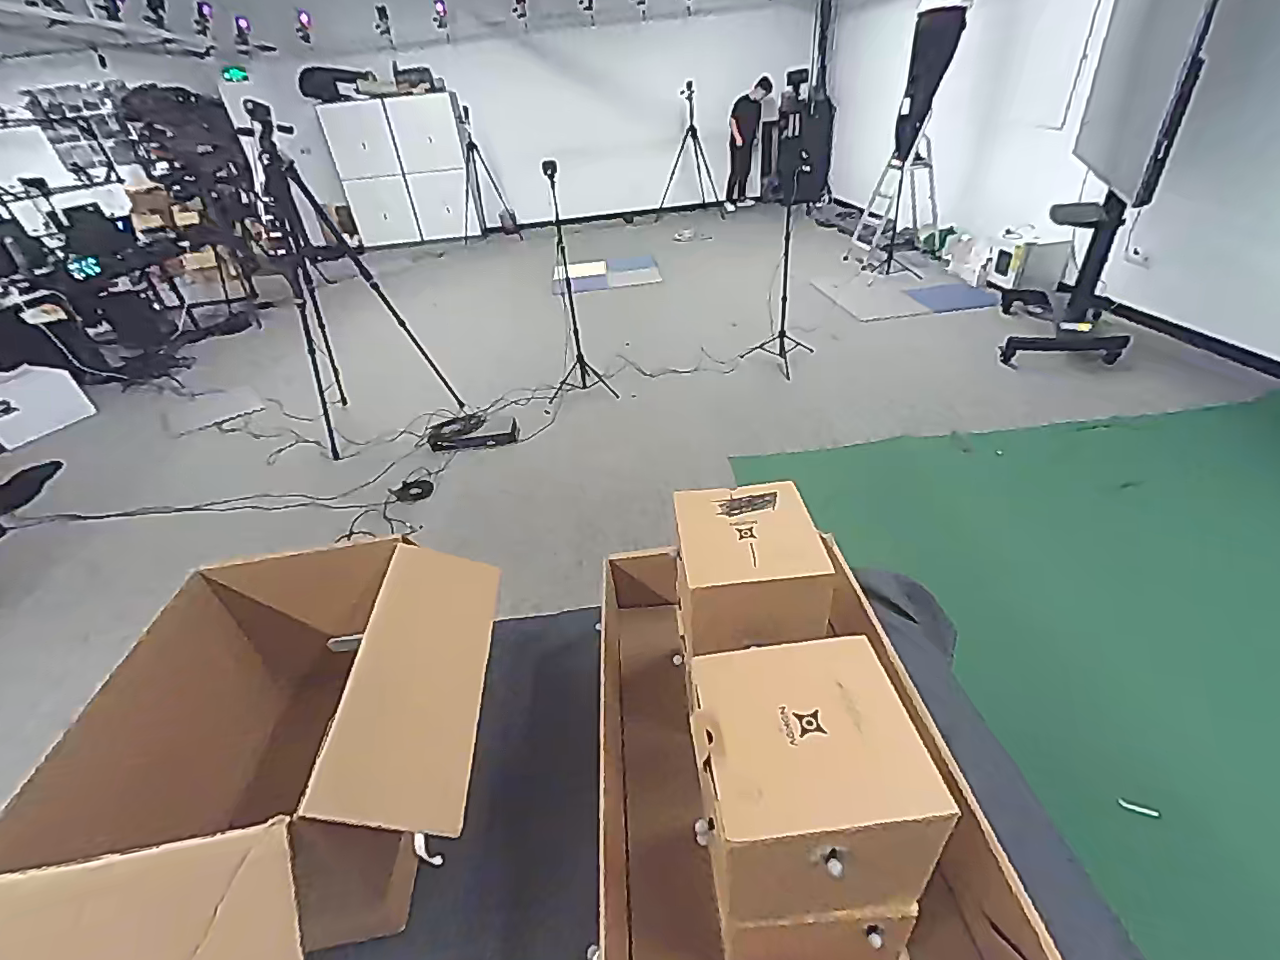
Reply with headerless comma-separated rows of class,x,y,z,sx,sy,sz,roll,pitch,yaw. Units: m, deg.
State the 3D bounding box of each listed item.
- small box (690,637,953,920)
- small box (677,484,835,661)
small box,0.148,0.275,0.503,0.179,0.176,0.168,-7,35,-1
small box,0.139,0.128,0.710,0.168,0.176,0.179,-6,37,1
